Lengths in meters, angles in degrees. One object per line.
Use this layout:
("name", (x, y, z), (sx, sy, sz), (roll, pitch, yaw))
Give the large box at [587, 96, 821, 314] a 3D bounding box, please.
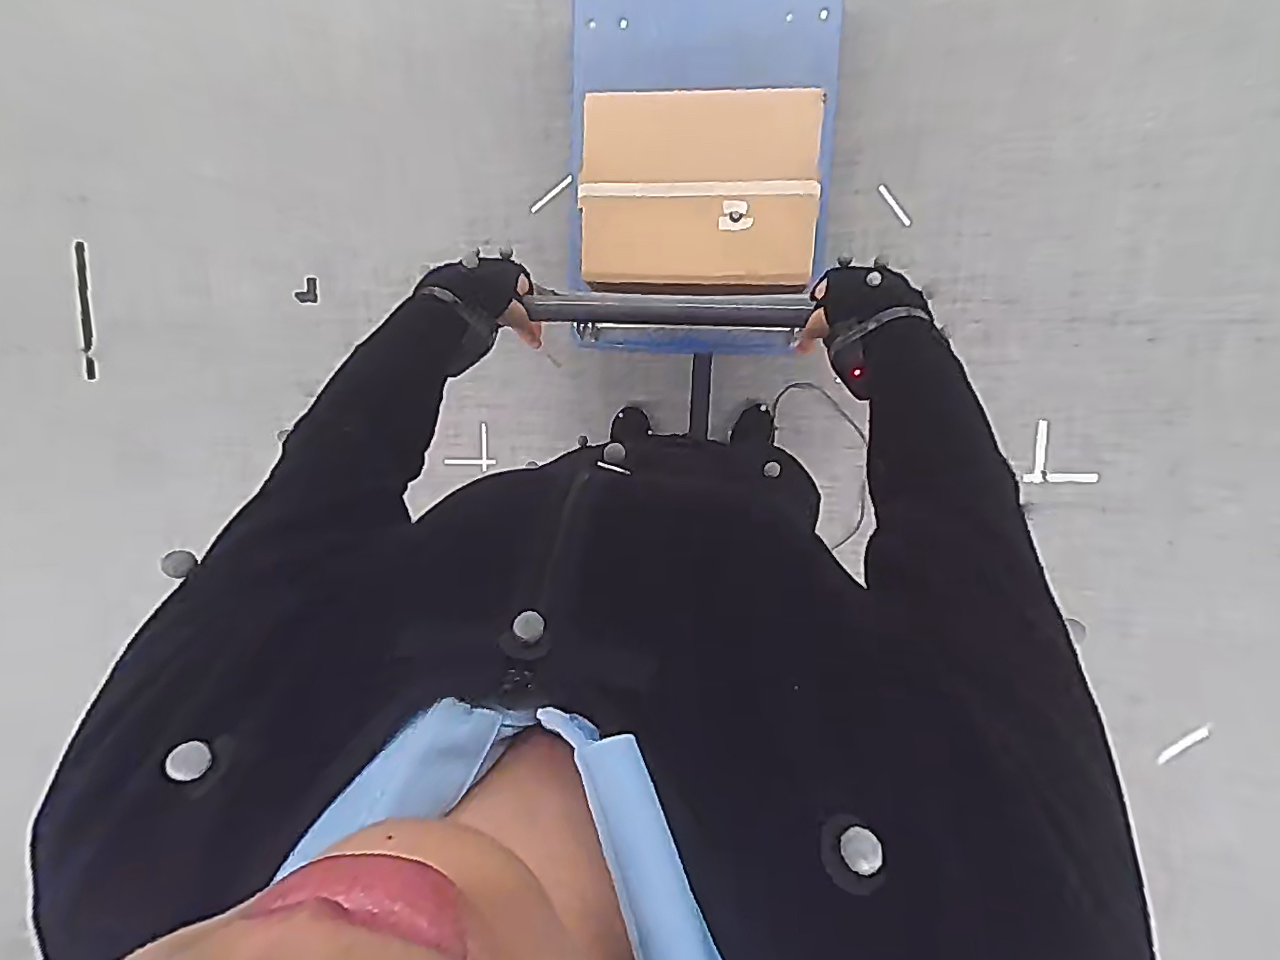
("large box", (0.117, -0.520, 1.092), (0.408, 0.320, 0.320), (2, 99, 5))
